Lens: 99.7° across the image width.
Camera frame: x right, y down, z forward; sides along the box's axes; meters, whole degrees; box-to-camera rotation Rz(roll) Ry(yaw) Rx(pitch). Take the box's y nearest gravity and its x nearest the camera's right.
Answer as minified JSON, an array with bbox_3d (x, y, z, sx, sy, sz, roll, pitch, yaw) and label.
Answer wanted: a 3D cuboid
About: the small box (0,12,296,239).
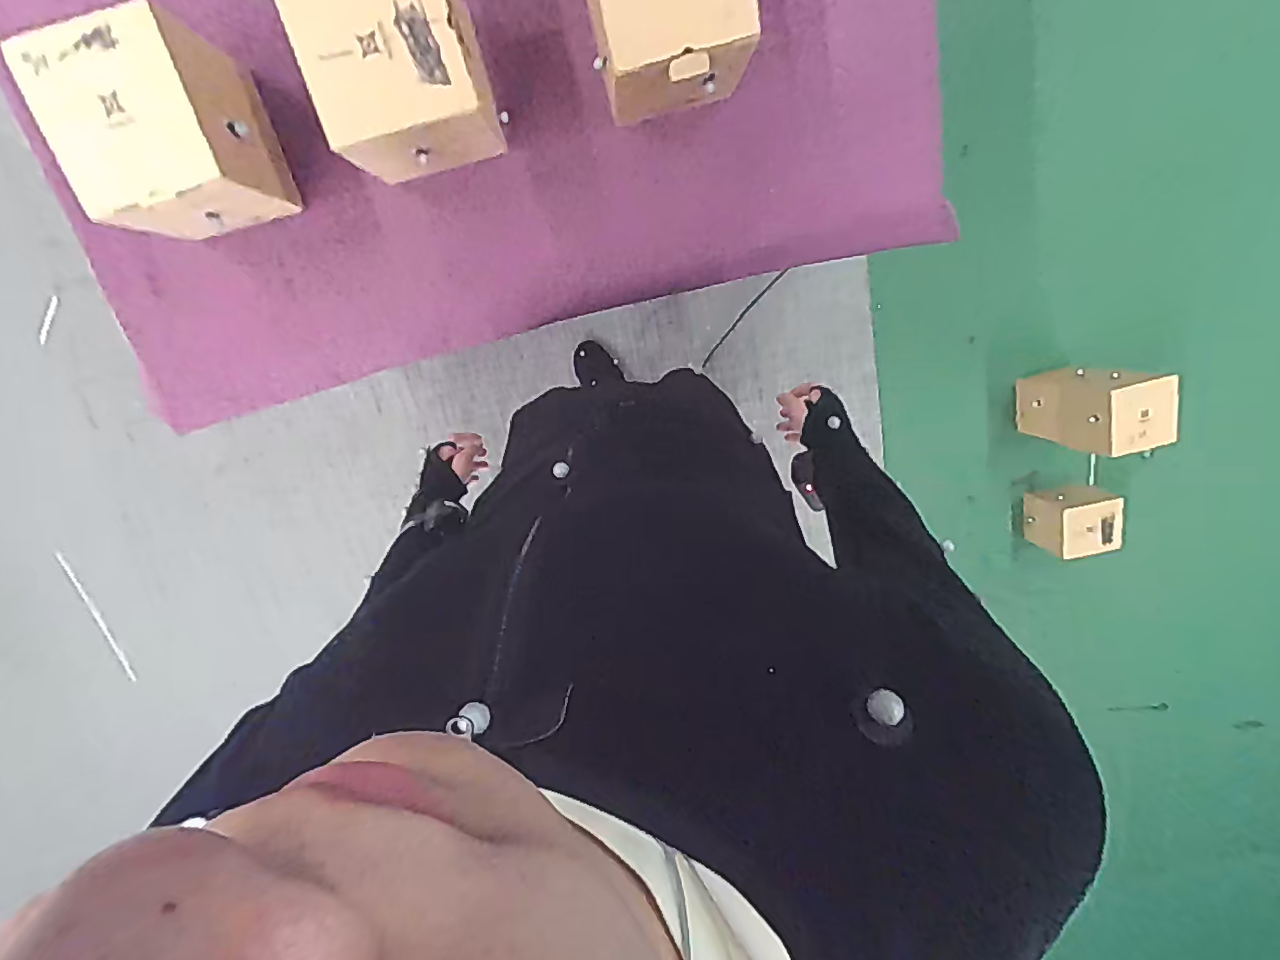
[{"bbox_3d":[-0.567,-0.406,0.658,0.168,0.176,0.179,-15,107,1],"label":"small box"}]

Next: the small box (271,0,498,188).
[{"bbox_3d":[-0.284,-0.476,0.651,0.179,0.176,0.168,-15,106,3],"label":"small box"}]

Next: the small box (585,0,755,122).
[{"bbox_3d":[0.026,-0.556,0.643,0.168,0.176,0.179,-14,106,1],"label":"small box"}]

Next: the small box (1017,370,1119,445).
[{"bbox_3d":[1.219,-0.212,1.551,0.179,0.176,0.168,-14,106,1],"label":"small box"}]

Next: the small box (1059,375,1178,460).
[{"bbox_3d":[1.221,-0.169,1.393,0.168,0.176,0.179,-14,106,1],"label":"small box"}]
